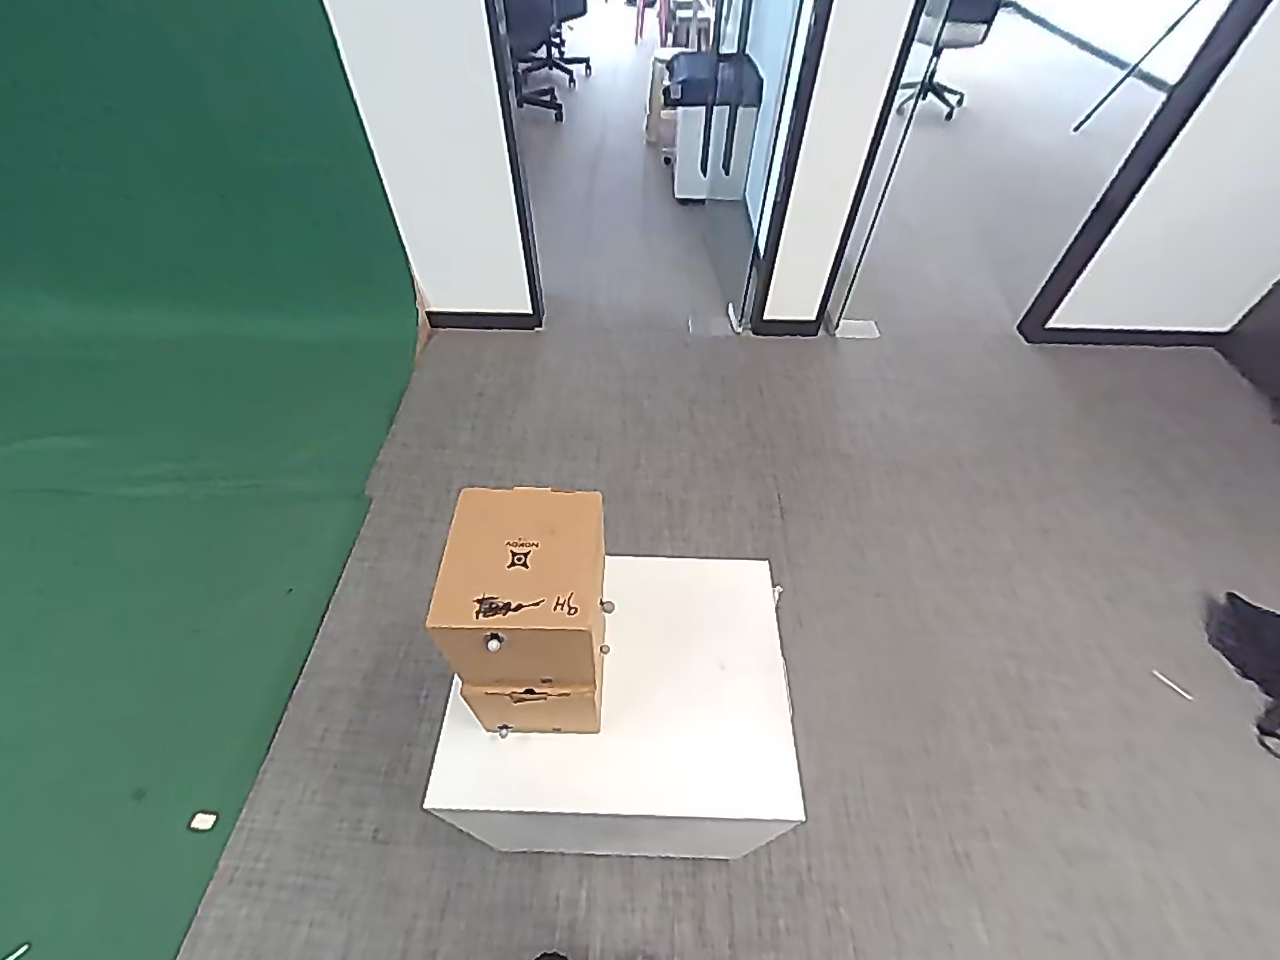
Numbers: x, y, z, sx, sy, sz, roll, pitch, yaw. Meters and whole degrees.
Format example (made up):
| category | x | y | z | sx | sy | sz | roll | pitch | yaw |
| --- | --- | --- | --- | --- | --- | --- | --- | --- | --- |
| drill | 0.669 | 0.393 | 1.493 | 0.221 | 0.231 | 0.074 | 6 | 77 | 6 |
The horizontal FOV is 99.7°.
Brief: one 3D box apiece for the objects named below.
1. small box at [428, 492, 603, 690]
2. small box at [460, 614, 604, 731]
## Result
| category | x | y | z | sx | sy | sz | roll | pitch | yaw |
| --- | --- | --- | --- | --- | --- | --- | --- | --- | --- |
| small box | -0.132 | 0.135 | 0.654 | 0.168 | 0.176 | 0.179 | 1 | 50 | 0 |
| small box | -0.139 | 0.246 | 0.773 | 0.168 | 0.176 | 0.179 | 1 | 50 | -1 |
